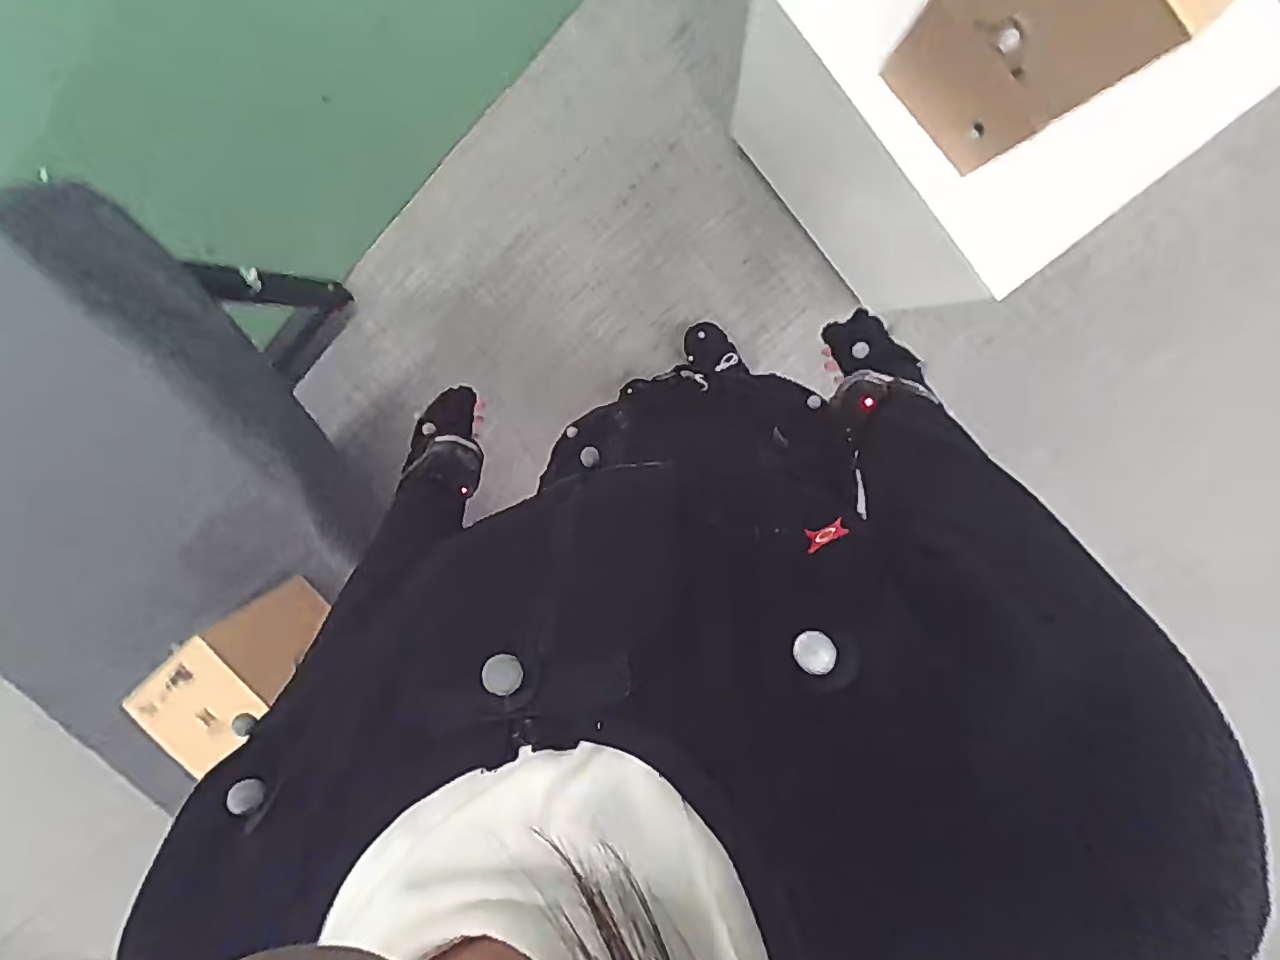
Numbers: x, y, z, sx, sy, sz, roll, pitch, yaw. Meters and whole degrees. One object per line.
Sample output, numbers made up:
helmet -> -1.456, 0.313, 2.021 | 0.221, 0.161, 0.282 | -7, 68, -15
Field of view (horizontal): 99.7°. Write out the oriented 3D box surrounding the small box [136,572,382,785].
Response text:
small box -> -0.497, 0.257, 0.733 | 0.168, 0.176, 0.179 | -38, 98, 16

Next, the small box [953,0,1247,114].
small box -> 0.386, -0.432, 0.404 | 0.168, 0.176, 0.179 | 43, 103, -7

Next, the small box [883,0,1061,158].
small box -> 0.394, -0.473, 0.563 | 0.179, 0.176, 0.168 | 45, 104, -5
